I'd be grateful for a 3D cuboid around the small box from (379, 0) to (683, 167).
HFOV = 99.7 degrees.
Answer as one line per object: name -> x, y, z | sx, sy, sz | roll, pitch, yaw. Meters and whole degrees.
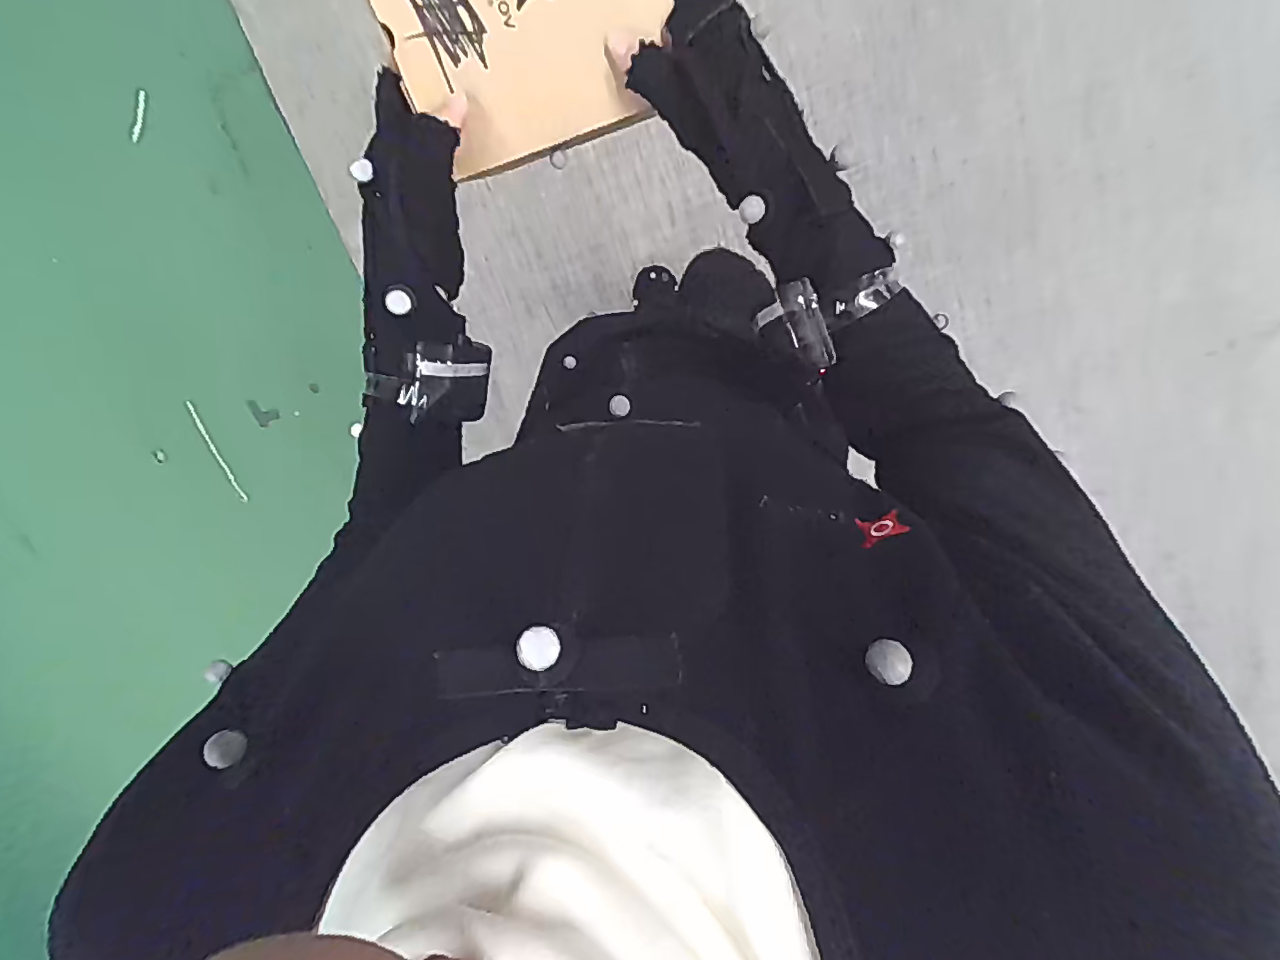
small box -> -0.076, -0.348, 0.396 | 0.179, 0.176, 0.168 | -16, 121, 8
